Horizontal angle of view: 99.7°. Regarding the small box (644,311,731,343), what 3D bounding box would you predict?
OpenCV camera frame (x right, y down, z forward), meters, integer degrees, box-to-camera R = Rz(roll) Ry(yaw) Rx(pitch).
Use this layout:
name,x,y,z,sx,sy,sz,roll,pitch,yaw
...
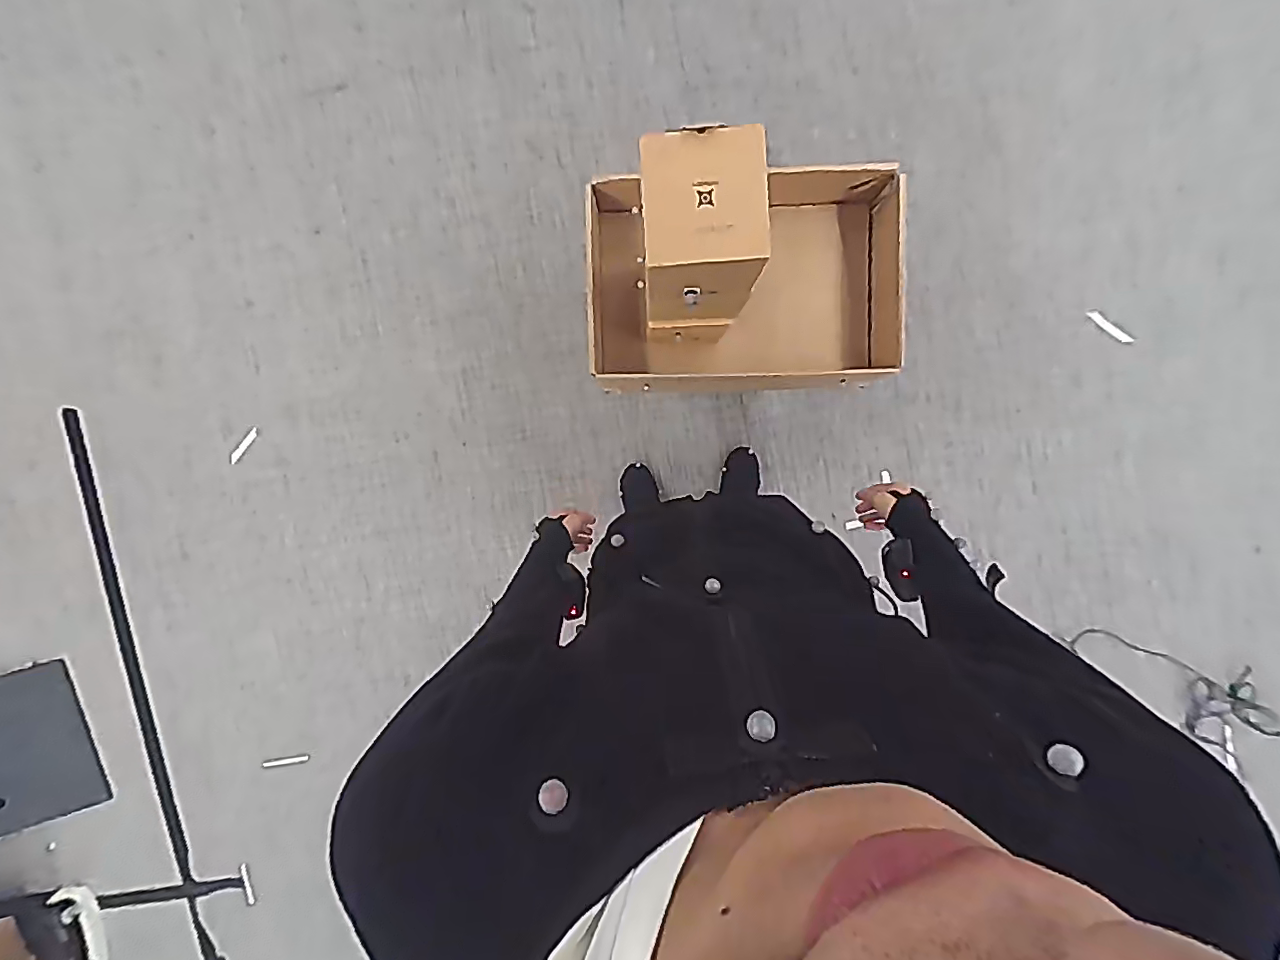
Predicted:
name,x,y,z,sx,sy,sz,roll,pitch,yaw
small box,0.091,-0.381,1.104,0.168,0.176,0.179,-3,93,1

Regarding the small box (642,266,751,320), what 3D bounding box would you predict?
name,x,y,z,sx,sy,sz,roll,pitch,yaw
small box,0.091,-0.380,0.940,0.179,0.176,0.168,-1,93,0

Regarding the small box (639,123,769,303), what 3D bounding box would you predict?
name,x,y,z,sx,sy,sz,roll,pitch,yaw
small box,0.084,-0.370,0.776,0.168,0.176,0.179,-3,92,2
